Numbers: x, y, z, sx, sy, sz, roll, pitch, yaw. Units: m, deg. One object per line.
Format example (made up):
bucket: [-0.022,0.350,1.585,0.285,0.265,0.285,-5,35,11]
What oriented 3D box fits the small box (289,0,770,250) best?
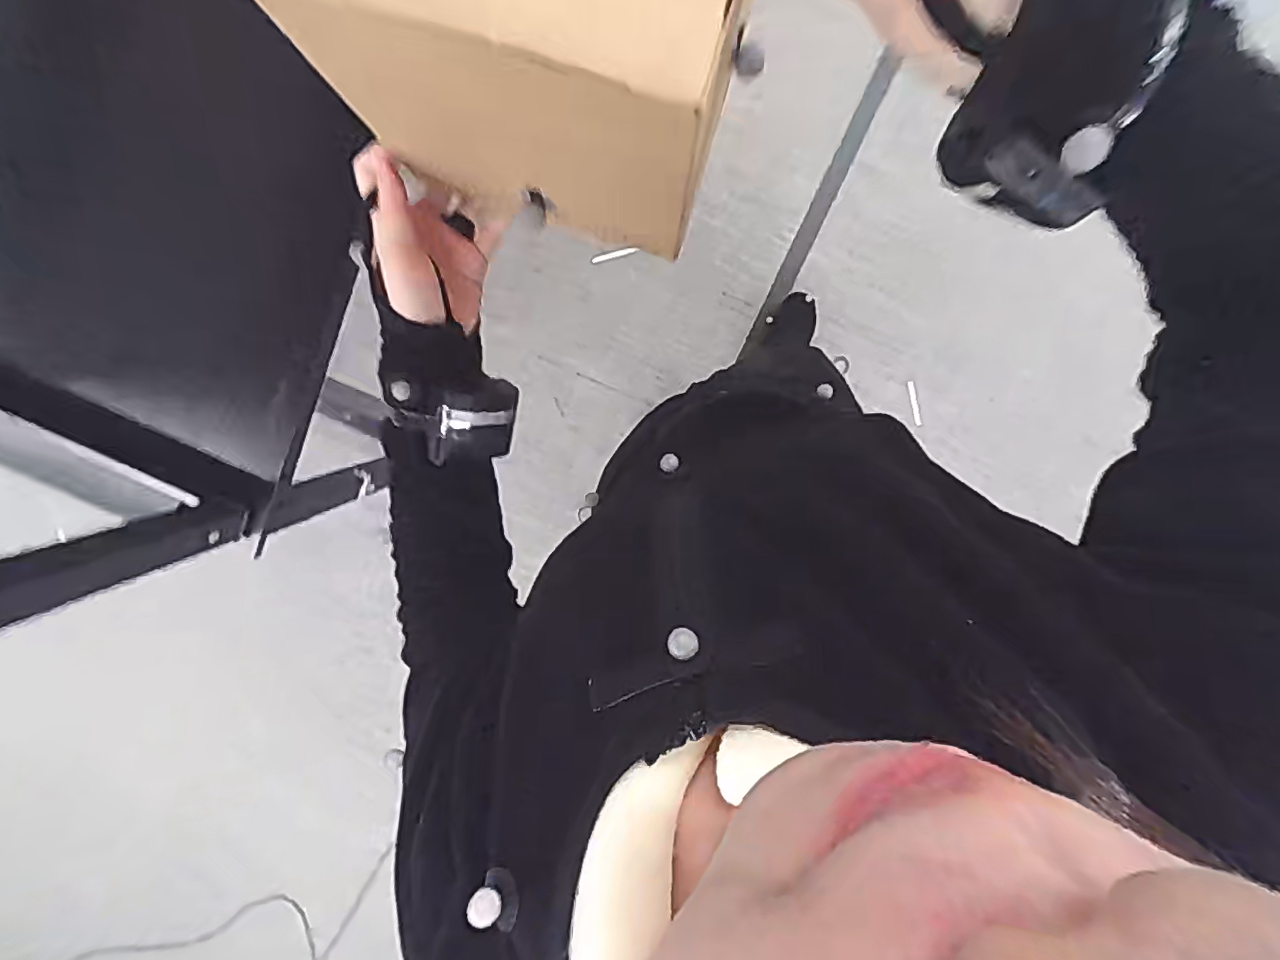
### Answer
small box: [-0.028,-0.237,0.267,0.179,0.176,0.168,16,93,0]
